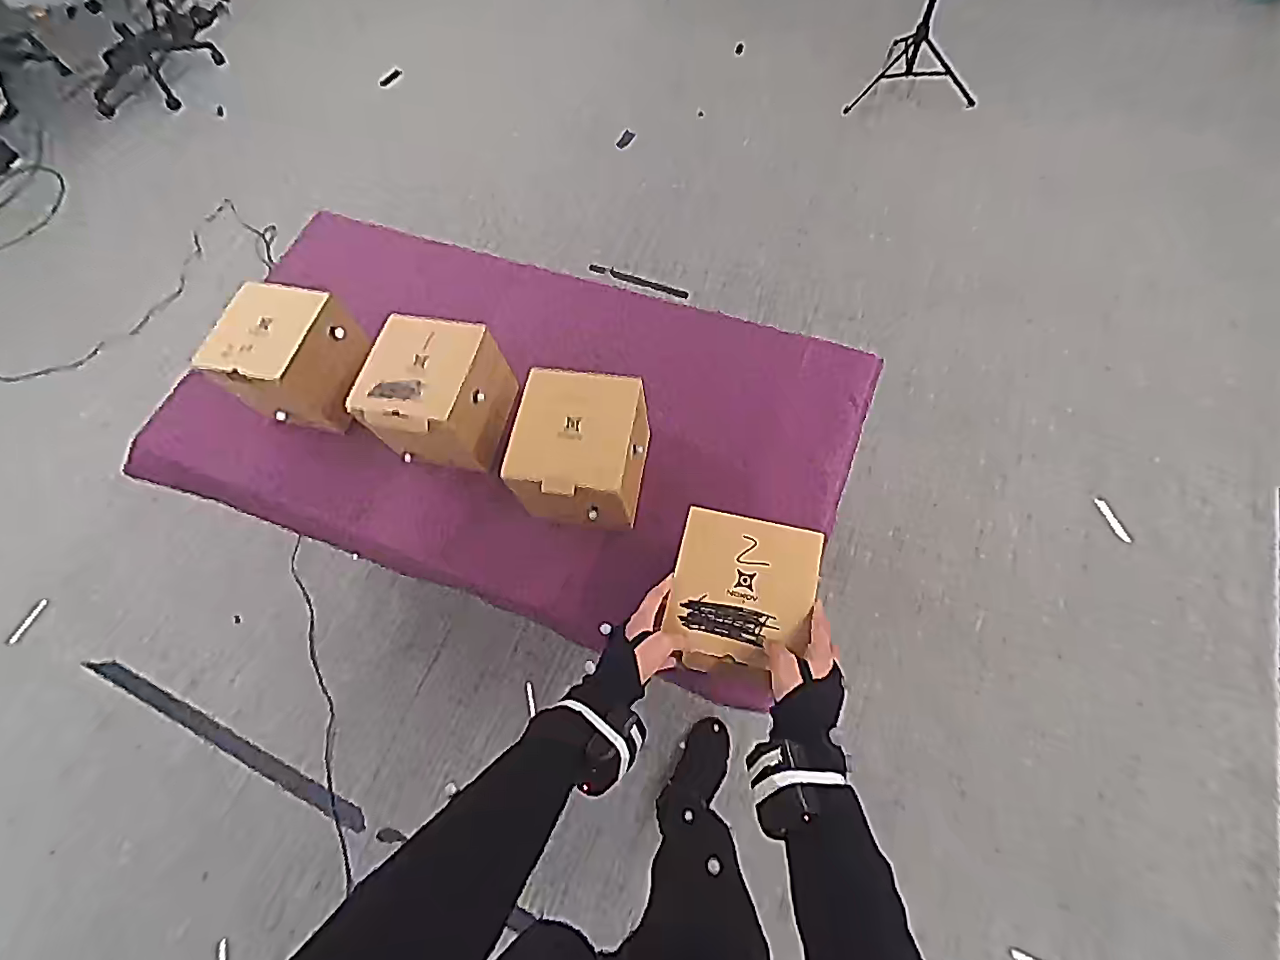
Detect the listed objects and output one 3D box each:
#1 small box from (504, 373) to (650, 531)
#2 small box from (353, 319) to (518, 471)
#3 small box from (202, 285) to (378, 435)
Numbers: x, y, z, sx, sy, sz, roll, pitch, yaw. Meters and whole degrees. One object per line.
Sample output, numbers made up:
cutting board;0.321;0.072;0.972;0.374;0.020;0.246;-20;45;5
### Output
small box;-0.081;-0.035;0.818;0.168;0.176;0.179;8;67;9
small box;-0.317;-0.131;0.881;0.168;0.176;0.179;10;67;10
small box;-0.585;-0.204;0.939;0.168;0.176;0.179;11;68;11
